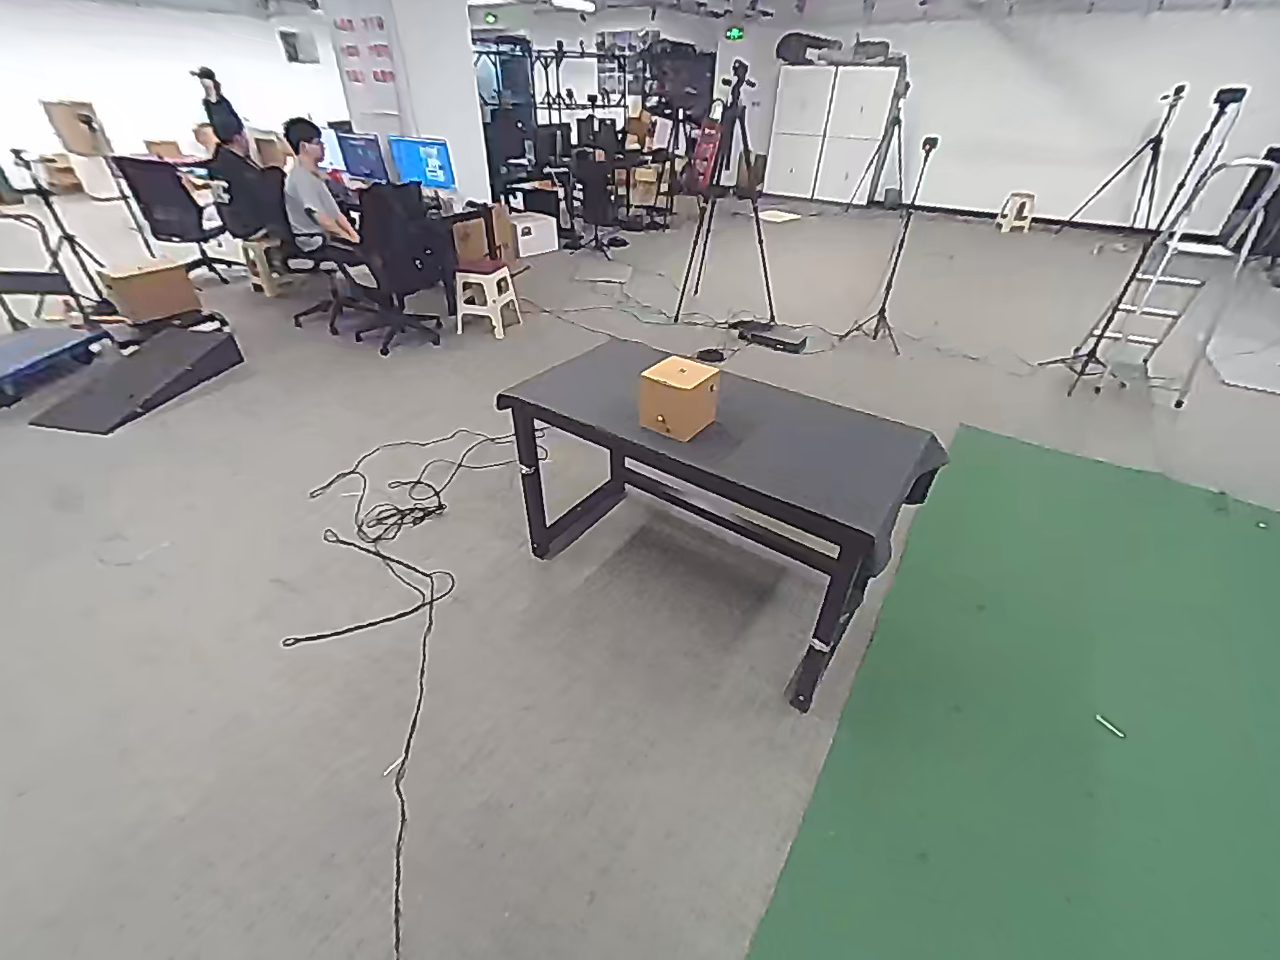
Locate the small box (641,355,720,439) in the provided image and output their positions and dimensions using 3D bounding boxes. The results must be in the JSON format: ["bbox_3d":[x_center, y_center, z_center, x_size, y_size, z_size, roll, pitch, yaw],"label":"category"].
[{"bbox_3d":[0.114,-0.244,1.581,0.168,0.176,0.179,23,41,28],"label":"small box"}]
